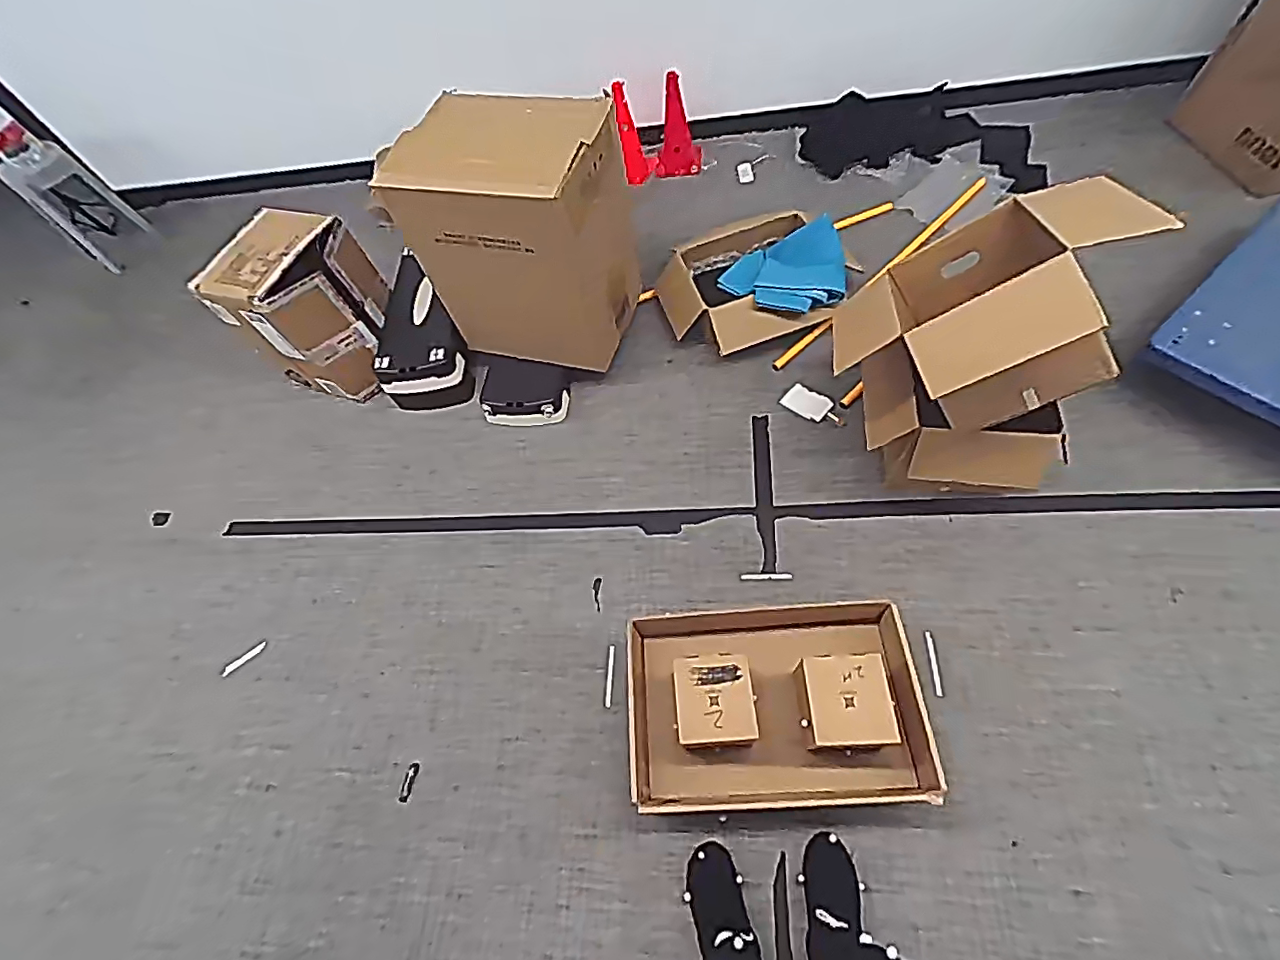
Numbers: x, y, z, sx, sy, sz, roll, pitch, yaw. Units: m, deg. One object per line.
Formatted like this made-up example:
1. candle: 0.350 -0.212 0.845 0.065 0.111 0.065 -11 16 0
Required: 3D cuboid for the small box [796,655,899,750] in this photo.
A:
1. small box: 0.443 0.491 1.183 0.168 0.176 0.179 -4 60 6
